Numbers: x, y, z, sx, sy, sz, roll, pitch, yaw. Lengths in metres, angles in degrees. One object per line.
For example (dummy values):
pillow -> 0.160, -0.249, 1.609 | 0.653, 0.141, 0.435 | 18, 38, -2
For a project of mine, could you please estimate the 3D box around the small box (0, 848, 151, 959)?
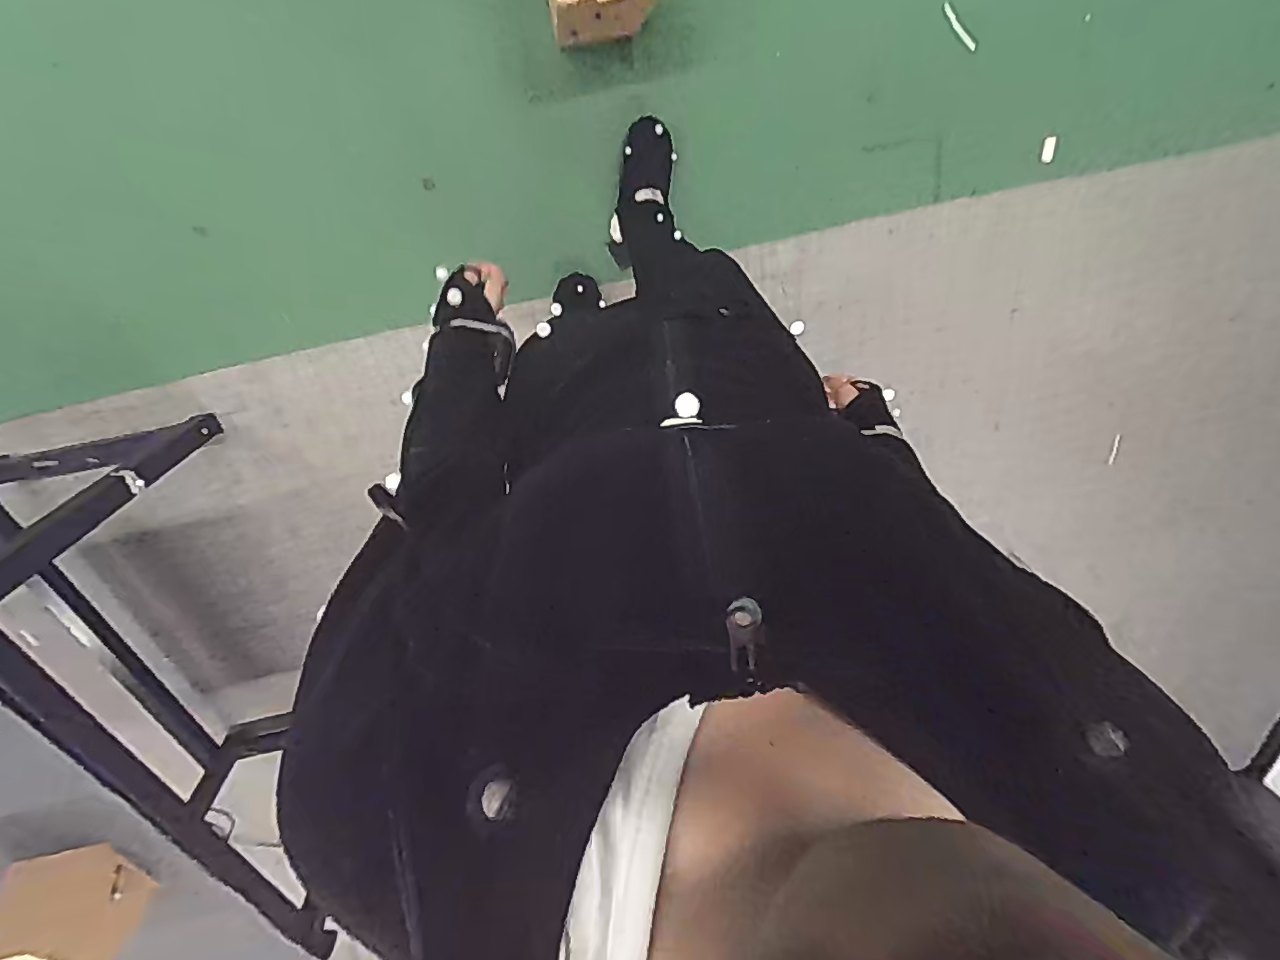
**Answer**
small box -> -1.052, 0.798, 0.964 | 0.179, 0.176, 0.168 | -12, 121, 0

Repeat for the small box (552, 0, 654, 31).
small box -> -0.068, -0.837, 0.835 | 0.168, 0.176, 0.179 | -13, 120, -1
